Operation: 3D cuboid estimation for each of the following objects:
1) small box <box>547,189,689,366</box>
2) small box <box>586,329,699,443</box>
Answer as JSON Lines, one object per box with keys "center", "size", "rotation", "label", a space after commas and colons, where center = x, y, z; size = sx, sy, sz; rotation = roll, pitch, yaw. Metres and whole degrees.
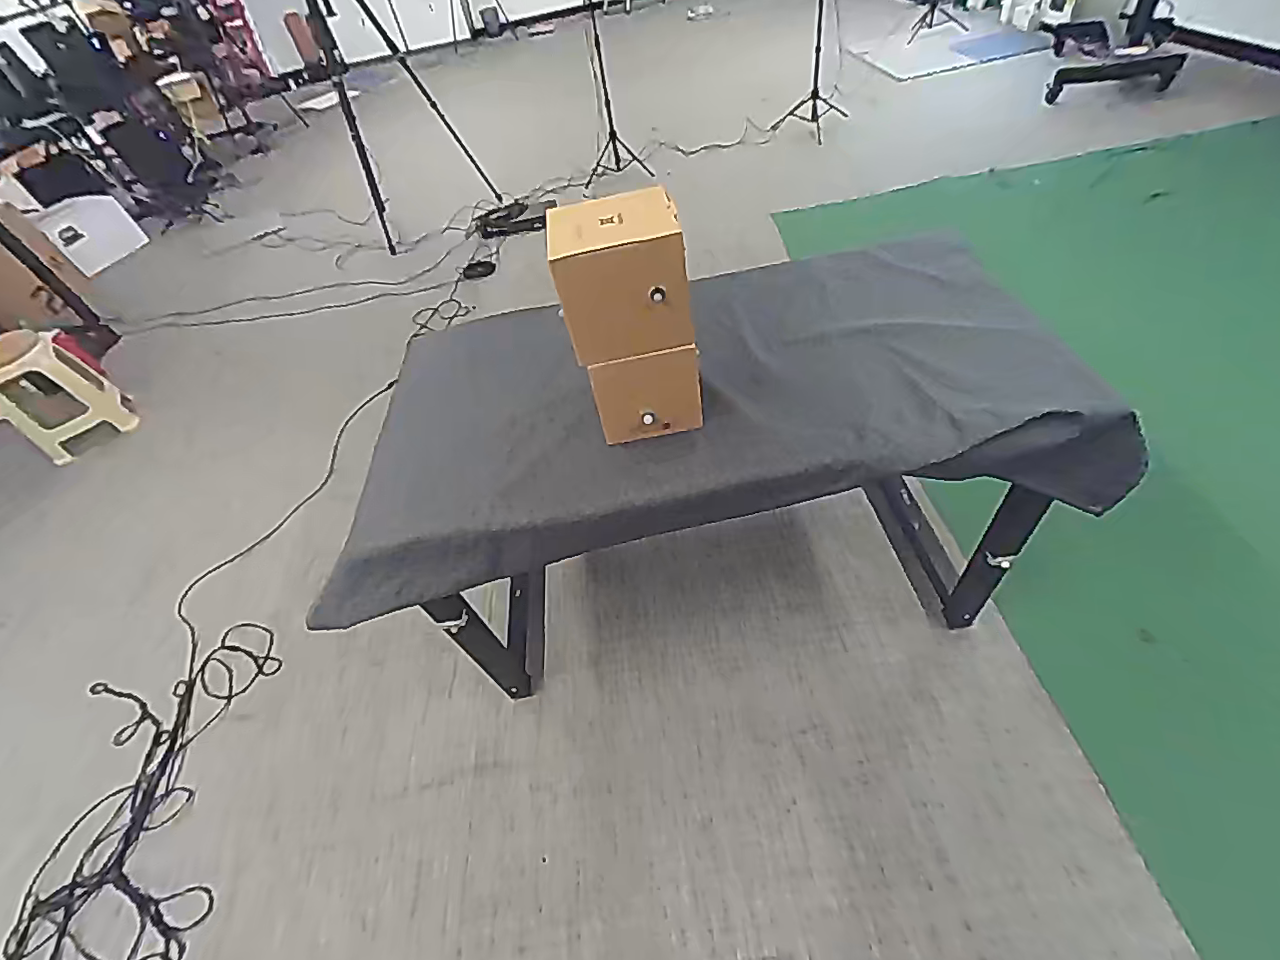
{"center": [-0.028, -0.292, 0.791], "size": [0.179, 0.176, 0.168], "rotation": [-12, 47, 3], "label": "small box"}
{"center": [0.003, -0.188, 0.912], "size": [0.168, 0.176, 0.179], "rotation": [-11, 49, 3], "label": "small box"}
